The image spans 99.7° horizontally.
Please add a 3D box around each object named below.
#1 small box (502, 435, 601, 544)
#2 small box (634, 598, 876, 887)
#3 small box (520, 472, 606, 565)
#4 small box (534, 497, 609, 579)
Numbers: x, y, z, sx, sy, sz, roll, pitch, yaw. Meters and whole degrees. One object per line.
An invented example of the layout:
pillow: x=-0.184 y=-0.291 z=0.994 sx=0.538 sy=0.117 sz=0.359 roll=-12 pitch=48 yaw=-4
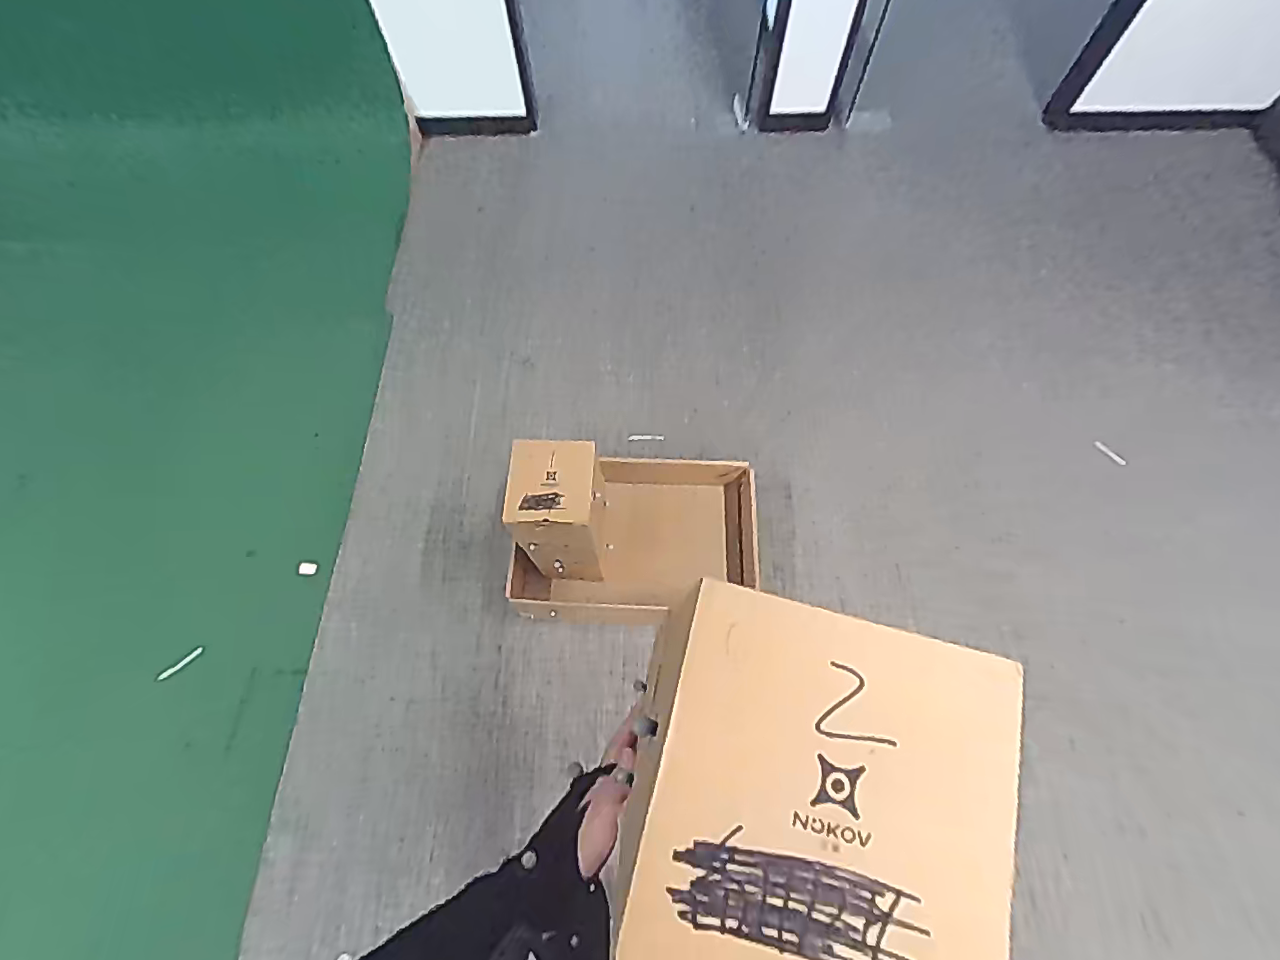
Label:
small box: x=-0.170 y=0.025 z=1.103 sx=0.168 sy=0.176 sz=0.179 roll=2 pitch=66 yaw=1
small box: x=0.090 y=0.215 z=0.488 sx=0.168 sy=0.176 sz=0.179 roll=12 pitch=74 yaw=2
small box: x=-0.169 y=0.086 z=1.255 sx=0.168 sy=0.176 sz=0.179 roll=4 pitch=67 yaw=2
small box: x=-0.170 y=0.147 z=1.407 sx=0.168 sy=0.176 sz=0.179 roll=4 pitch=67 yaw=1
